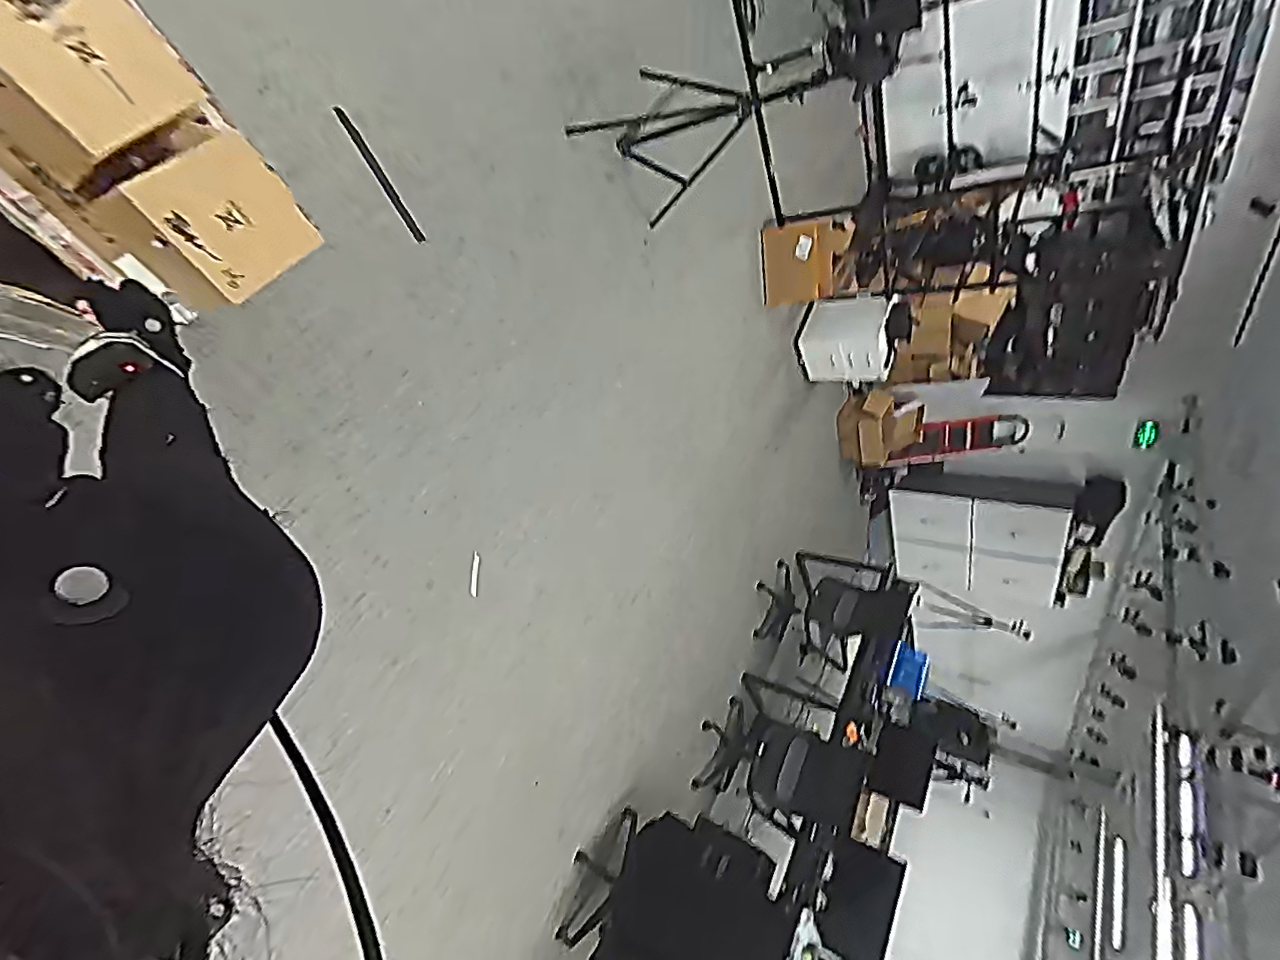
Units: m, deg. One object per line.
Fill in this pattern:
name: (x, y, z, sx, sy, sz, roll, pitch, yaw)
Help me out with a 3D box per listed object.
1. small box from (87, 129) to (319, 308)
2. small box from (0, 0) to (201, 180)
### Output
small box: (-0.623, -0.367, 0.776, 0.179, 0.176, 0.168, -59, 140, -31)
small box: (-0.697, -0.498, 0.647, 0.168, 0.176, 0.179, -61, 138, -29)
